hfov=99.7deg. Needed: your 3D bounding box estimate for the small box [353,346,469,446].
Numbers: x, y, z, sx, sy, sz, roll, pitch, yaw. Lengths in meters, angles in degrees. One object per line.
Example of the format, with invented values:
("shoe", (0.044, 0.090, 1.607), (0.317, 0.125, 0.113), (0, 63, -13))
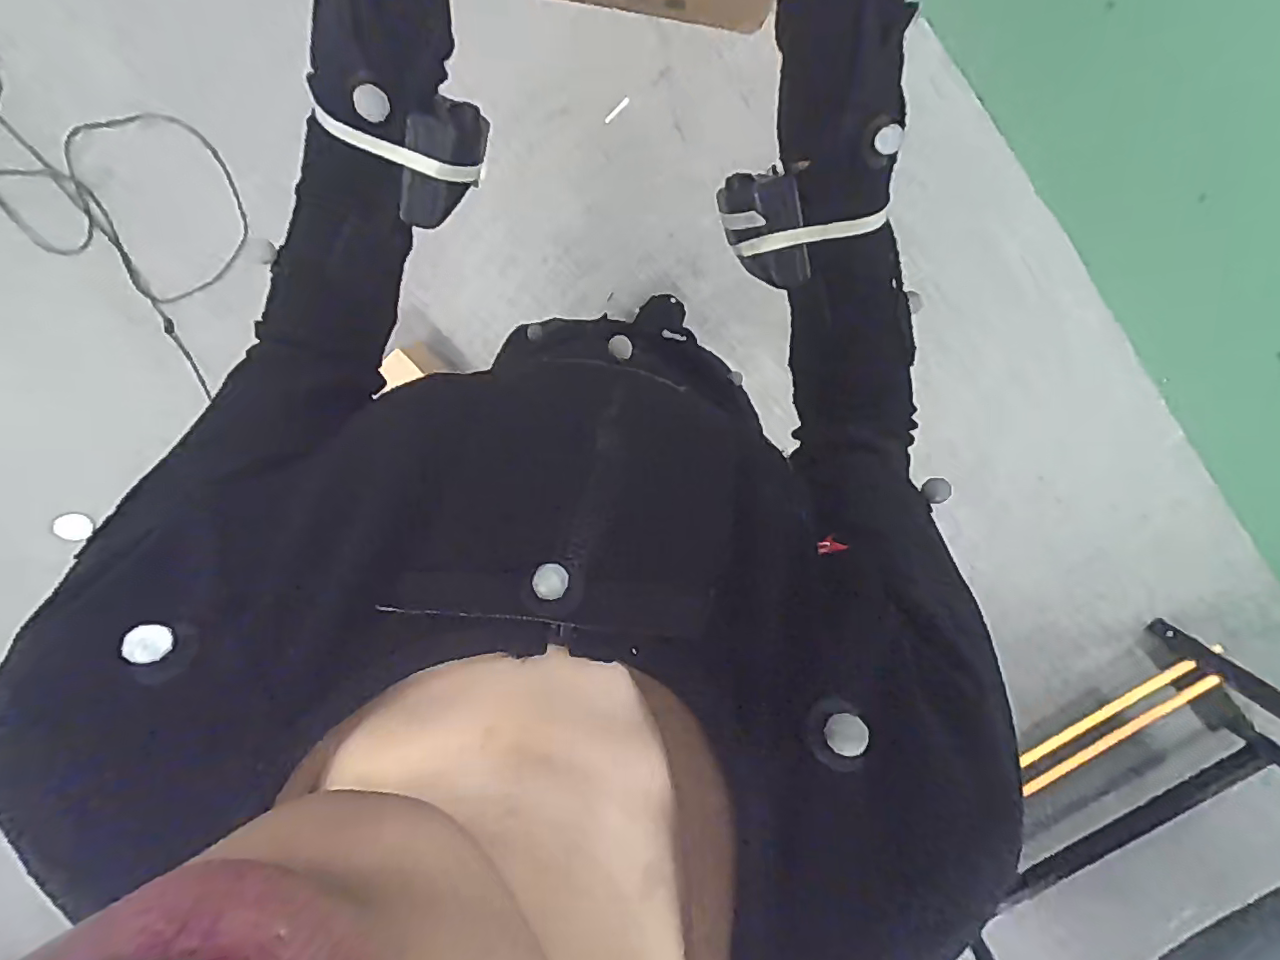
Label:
("small box", (-0.558, -0.217, 1.347), (0.168, 0.176, 0.179), (-39, 104, 12))
